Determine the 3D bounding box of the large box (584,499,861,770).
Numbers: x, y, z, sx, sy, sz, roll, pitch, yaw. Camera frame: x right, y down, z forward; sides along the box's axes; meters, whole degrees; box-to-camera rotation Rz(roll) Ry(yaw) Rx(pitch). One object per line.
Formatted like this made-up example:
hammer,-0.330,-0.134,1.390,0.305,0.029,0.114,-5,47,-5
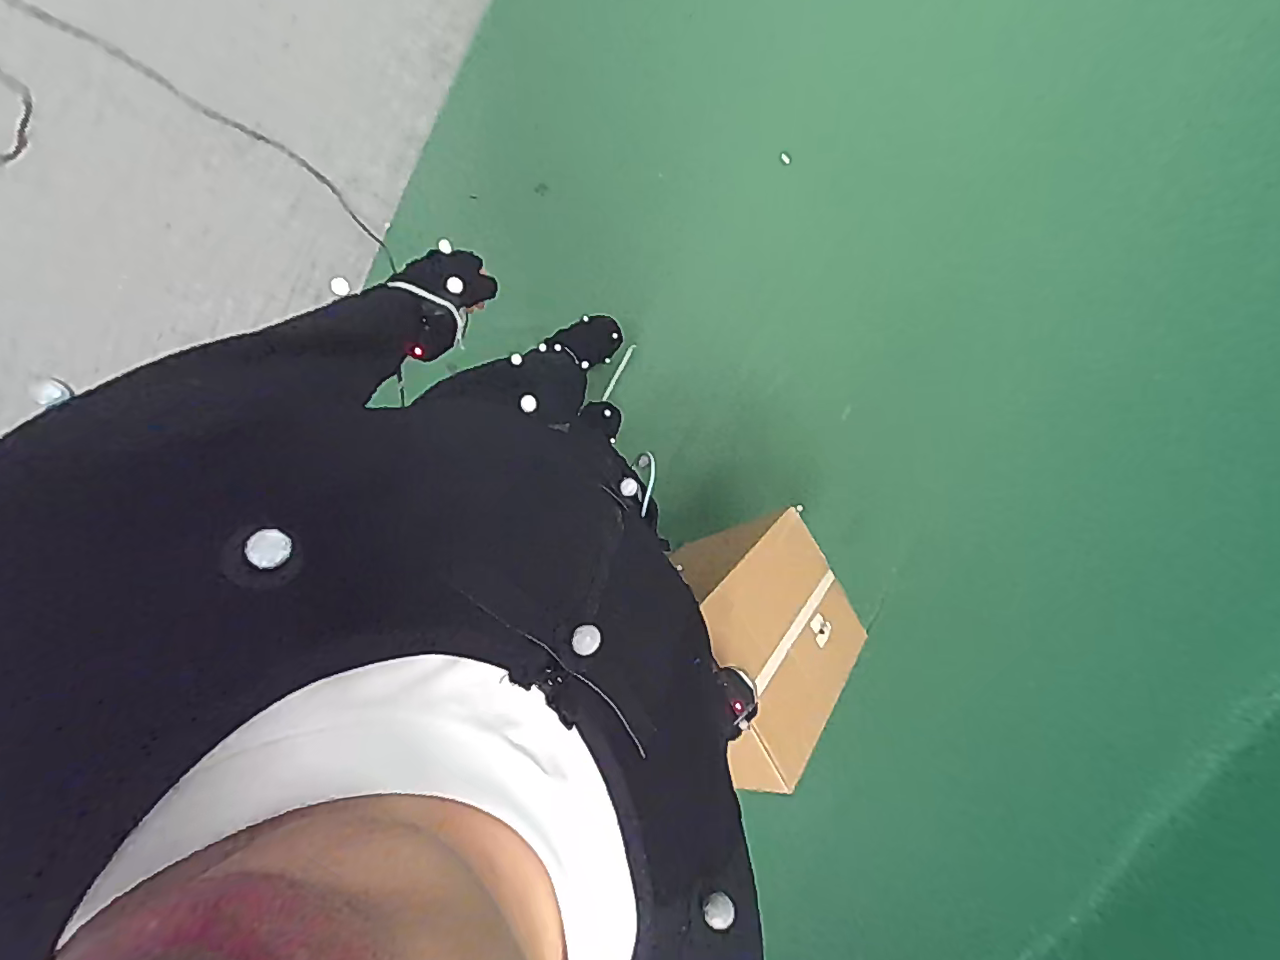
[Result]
large box,0.171,0.295,1.064,0.320,0.408,0.320,-27,95,44
